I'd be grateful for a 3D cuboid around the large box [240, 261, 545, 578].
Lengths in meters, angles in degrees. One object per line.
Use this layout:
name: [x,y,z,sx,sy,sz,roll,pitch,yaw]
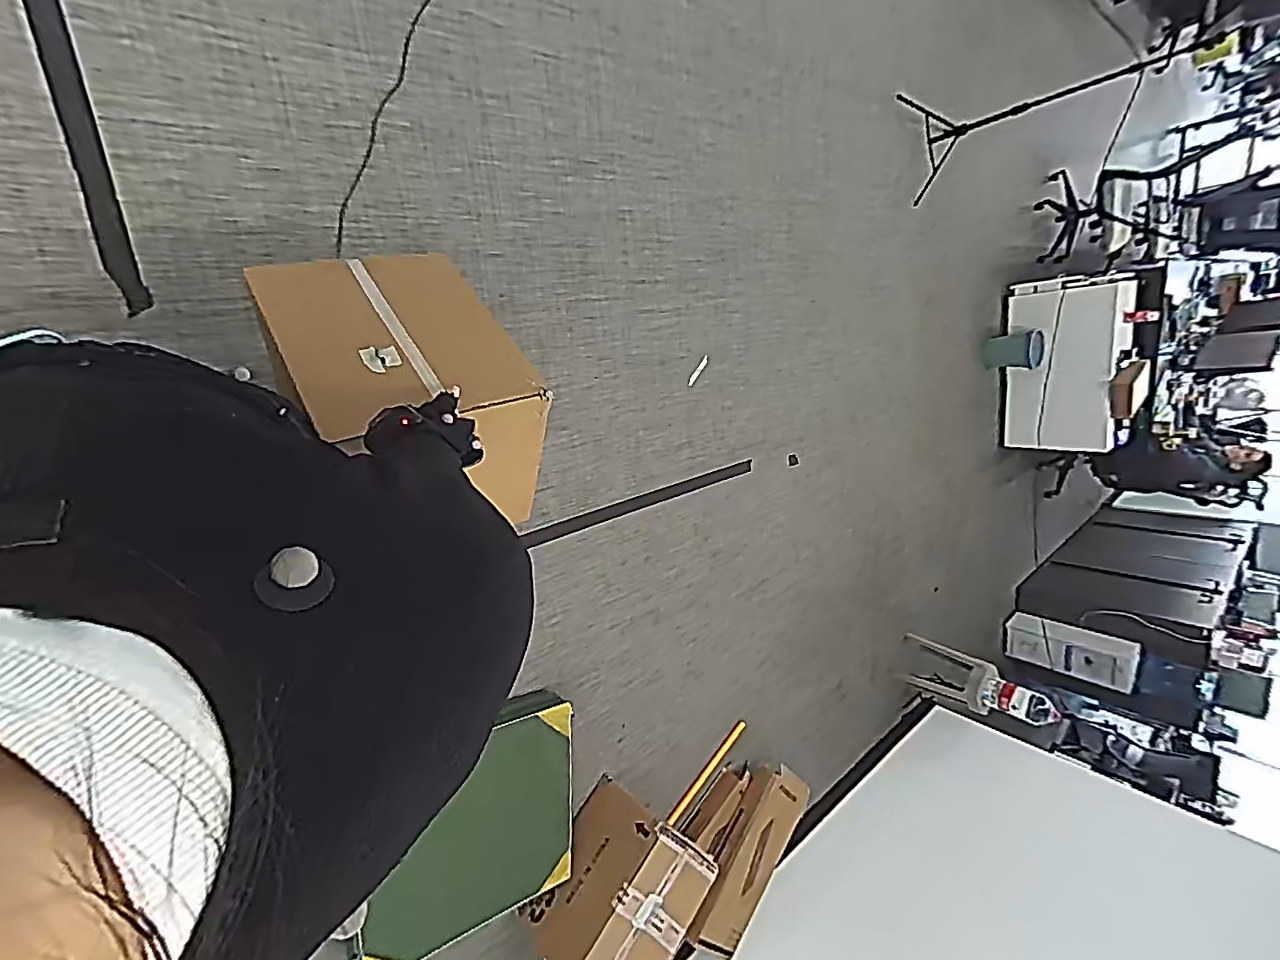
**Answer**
large box: [-0.411,-0.117,0.917,0.320,0.408,0.320,-21,149,-32]
